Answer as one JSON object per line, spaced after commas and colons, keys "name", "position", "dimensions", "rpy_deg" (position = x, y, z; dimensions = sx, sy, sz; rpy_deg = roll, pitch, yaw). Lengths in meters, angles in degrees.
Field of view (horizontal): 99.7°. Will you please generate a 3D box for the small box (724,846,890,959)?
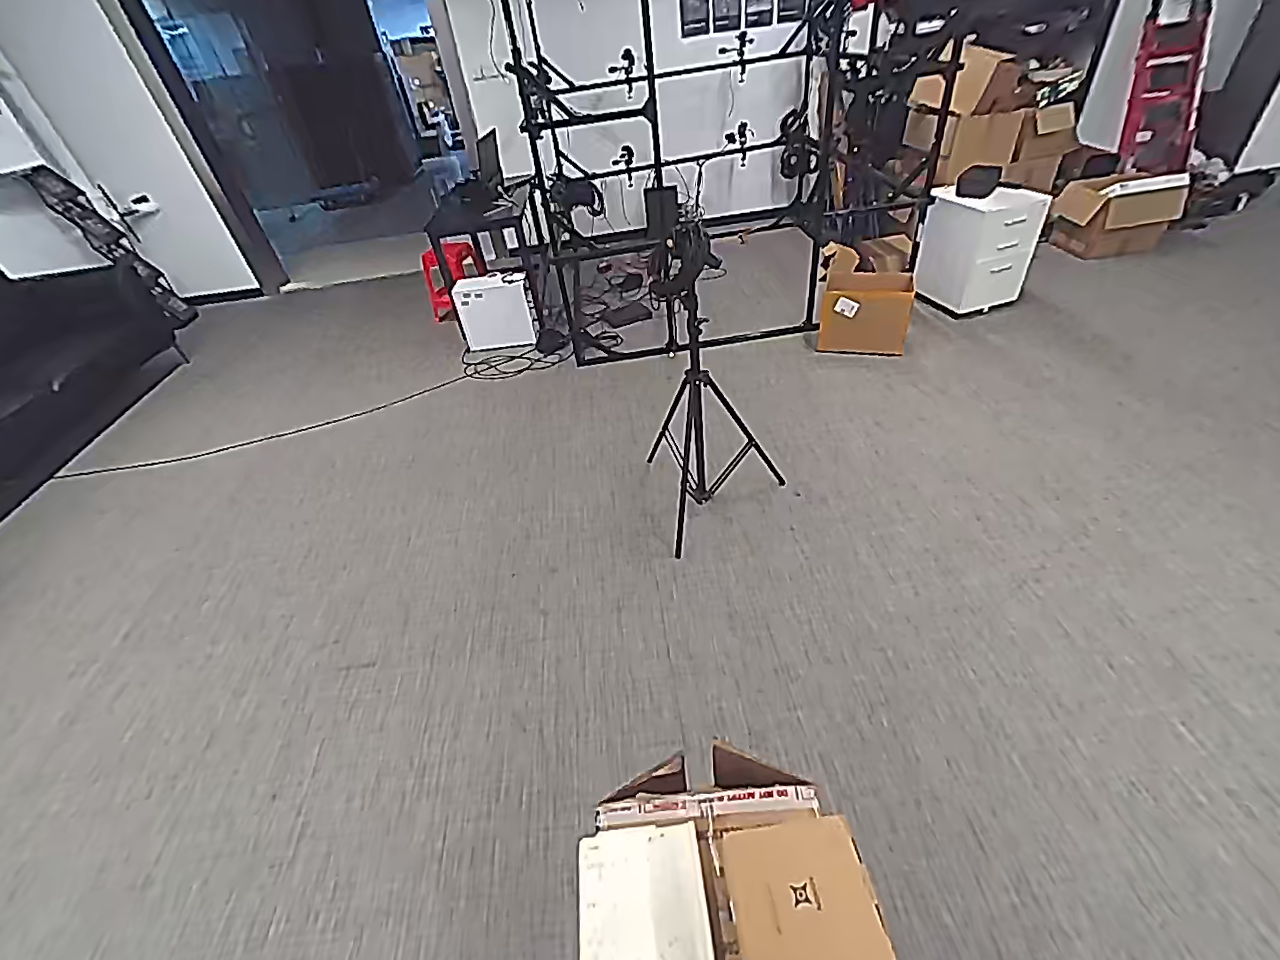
{"name": "small box", "position": [0.218, 0.626, 0.732], "dimensions": [0.179, 0.176, 0.168], "rpy_deg": [-9, 41, -2]}
